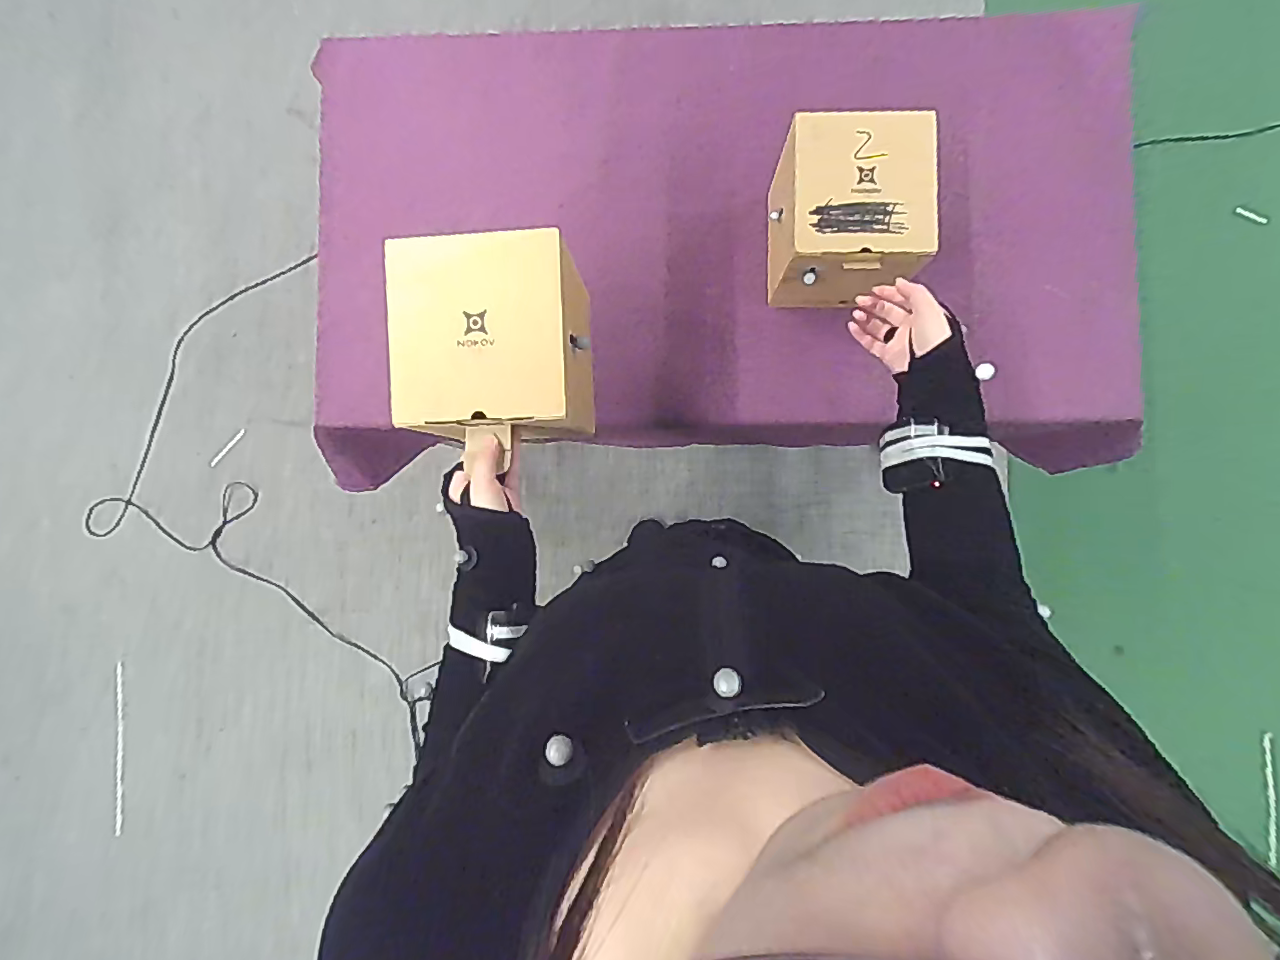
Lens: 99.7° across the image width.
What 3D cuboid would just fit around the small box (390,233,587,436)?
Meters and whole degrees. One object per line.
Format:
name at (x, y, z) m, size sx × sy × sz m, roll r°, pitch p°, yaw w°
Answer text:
small box at (-0.151, -0.144, 0.590) m, size 0.168 × 0.176 × 0.179 m, roll -2°, pitch 90°, yaw 3°
